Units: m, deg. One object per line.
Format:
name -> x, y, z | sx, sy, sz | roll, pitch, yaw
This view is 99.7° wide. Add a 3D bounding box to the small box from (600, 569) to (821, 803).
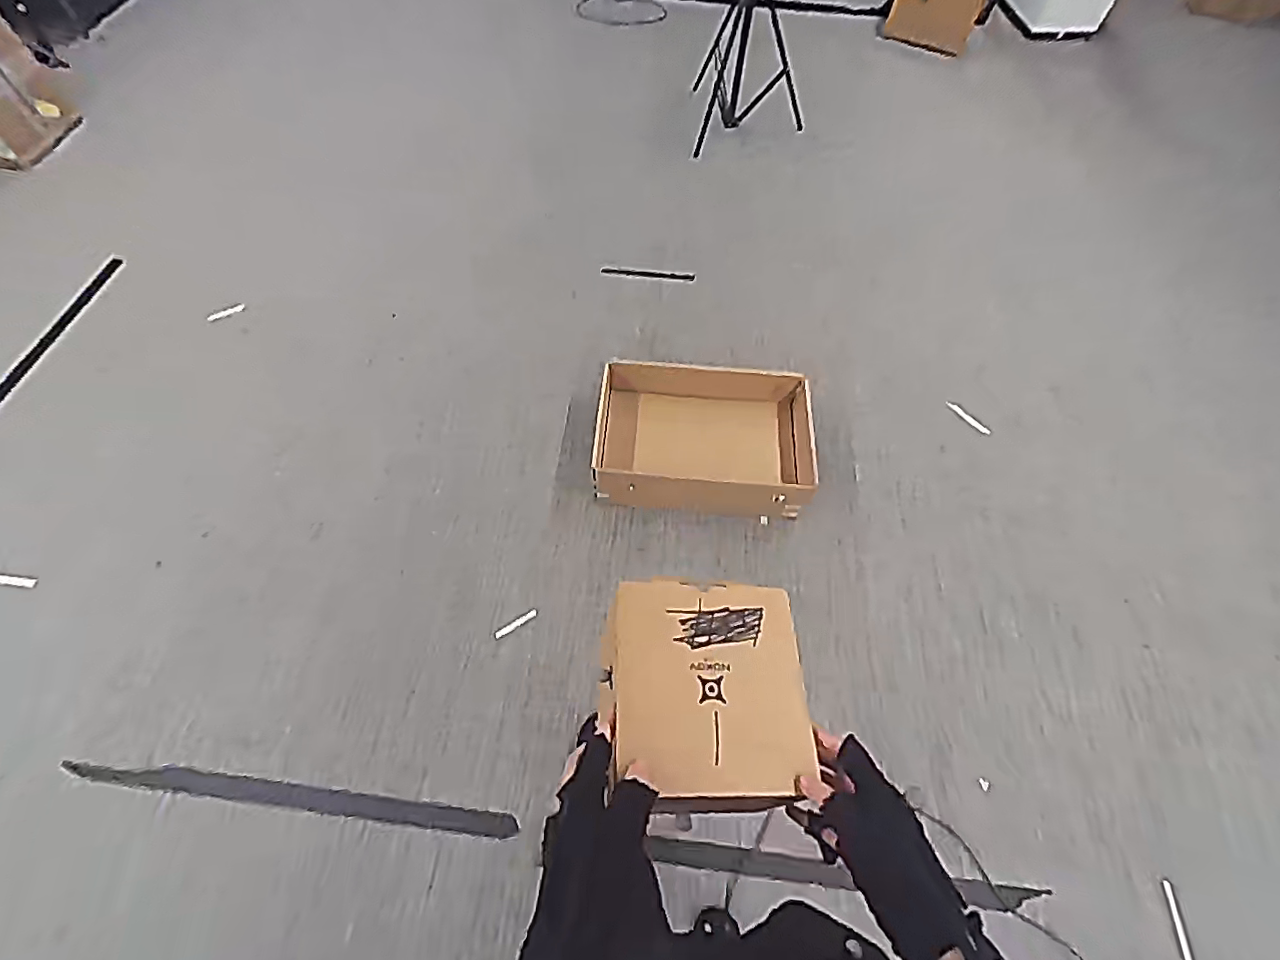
small box -> 0.050, 0.206, 0.528 | 0.168, 0.176, 0.179 | 4, 55, -7
